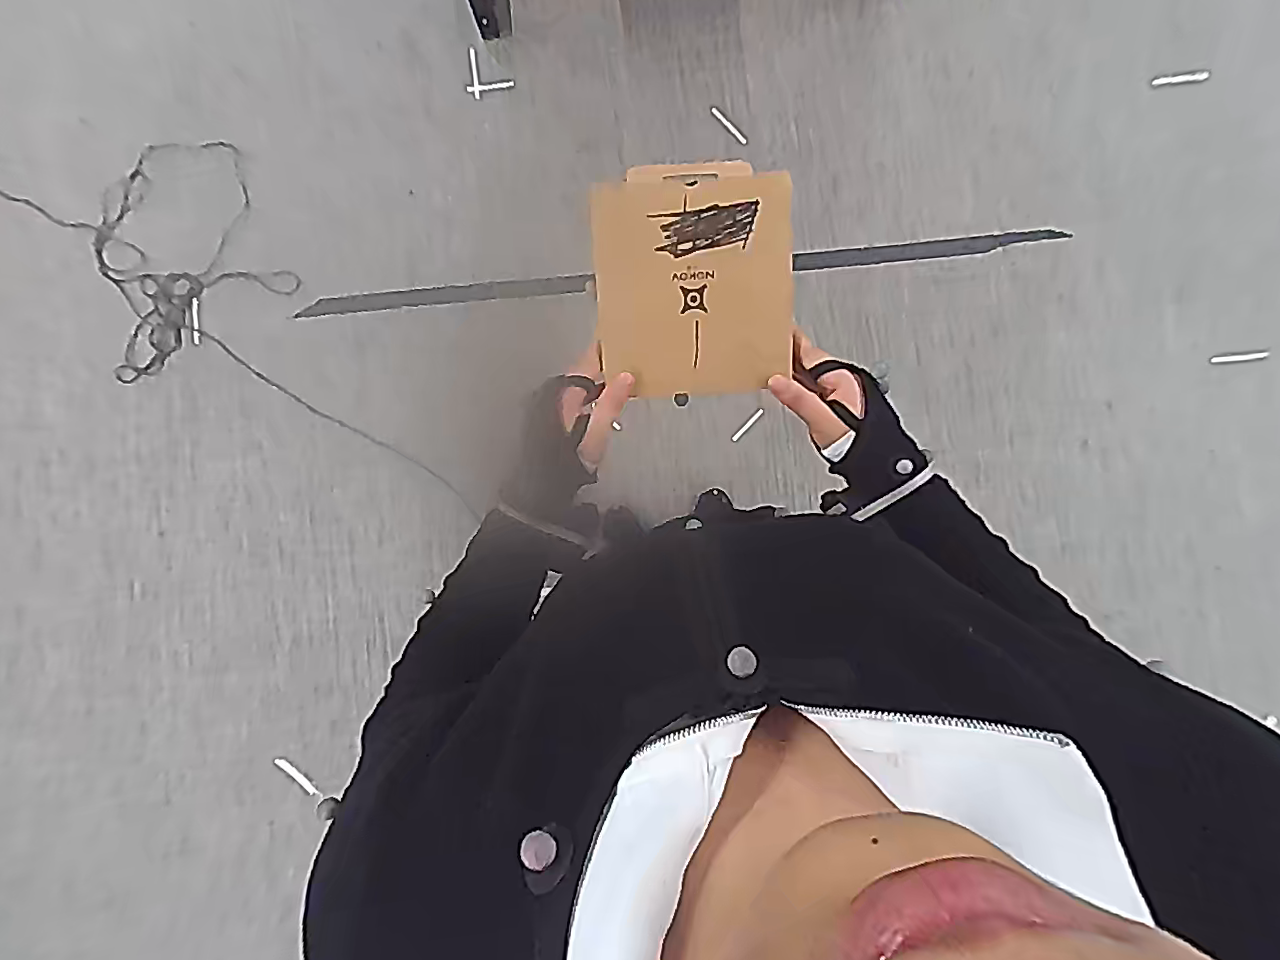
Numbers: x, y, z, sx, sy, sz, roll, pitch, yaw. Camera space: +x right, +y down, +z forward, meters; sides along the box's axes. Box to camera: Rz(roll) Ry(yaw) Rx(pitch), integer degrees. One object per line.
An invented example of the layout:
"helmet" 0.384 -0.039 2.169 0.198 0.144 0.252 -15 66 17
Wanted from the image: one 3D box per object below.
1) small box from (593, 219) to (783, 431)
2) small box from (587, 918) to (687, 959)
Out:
"small box" 0.041 -0.147 0.550 0.168 0.176 0.179 -3 102 0
"small box" -0.004 0.902 0.936 0.179 0.176 0.168 -3 87 2
